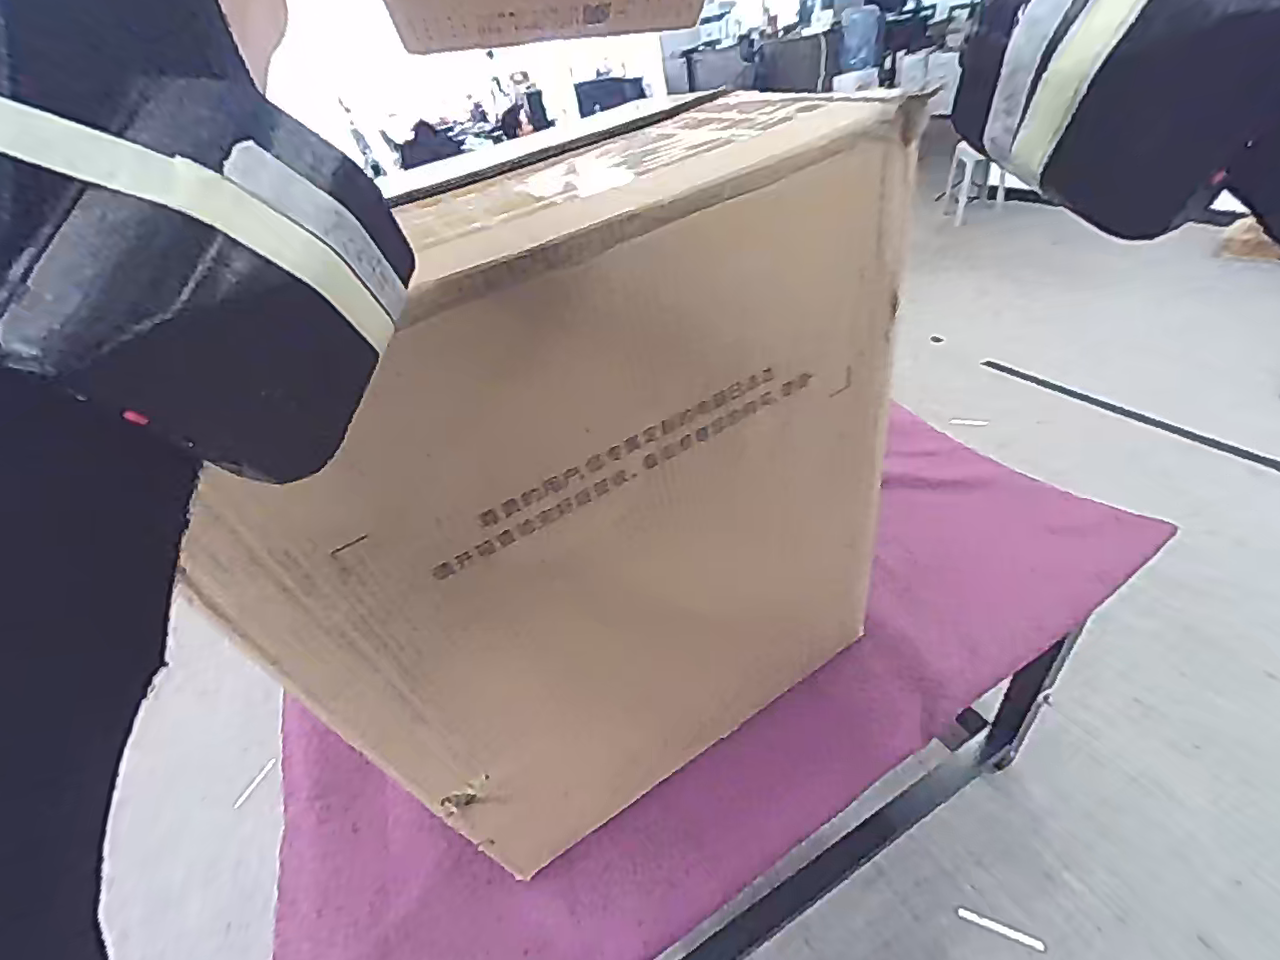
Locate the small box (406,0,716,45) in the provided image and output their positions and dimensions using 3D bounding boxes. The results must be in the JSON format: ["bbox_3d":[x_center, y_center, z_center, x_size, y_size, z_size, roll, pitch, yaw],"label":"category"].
[{"bbox_3d":[-0.040,-0.311,0.211,0.168,0.179,0.176,-10,8,-6],"label":"small box"}]
